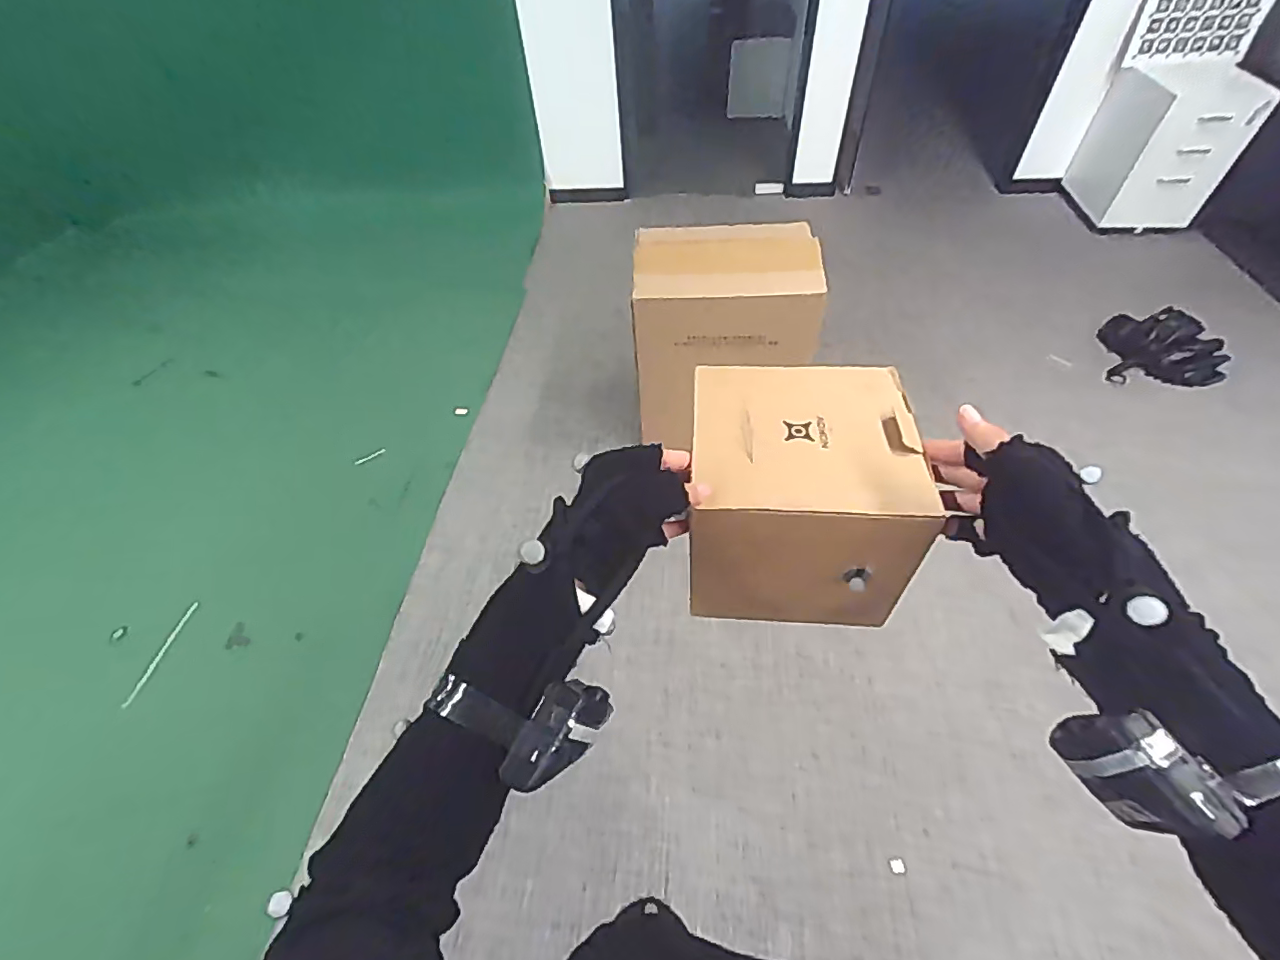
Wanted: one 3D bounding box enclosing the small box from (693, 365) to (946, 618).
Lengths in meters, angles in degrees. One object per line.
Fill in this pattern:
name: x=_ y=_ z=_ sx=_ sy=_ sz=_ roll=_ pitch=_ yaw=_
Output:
small box: x=0.139 y=0.014 z=0.493 sx=0.179 sy=0.176 sz=0.168 roll=0 pitch=49 yaw=6
